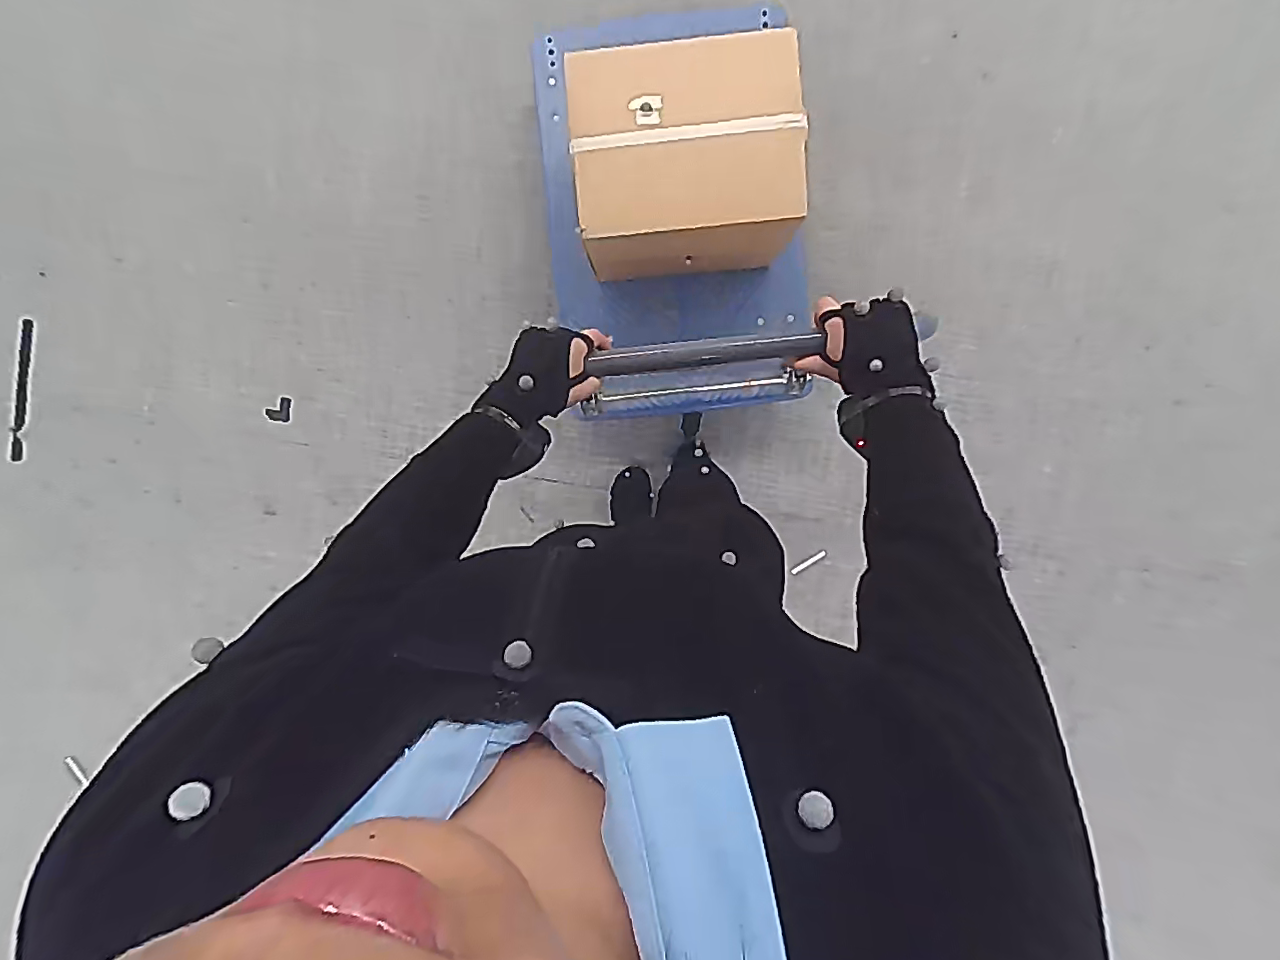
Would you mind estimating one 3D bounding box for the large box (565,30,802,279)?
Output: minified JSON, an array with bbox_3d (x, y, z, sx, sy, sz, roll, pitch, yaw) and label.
[{"bbox_3d":[0.087,-0.628,1.111,0.408,0.320,0.320,-5,95,3],"label":"large box"}]
